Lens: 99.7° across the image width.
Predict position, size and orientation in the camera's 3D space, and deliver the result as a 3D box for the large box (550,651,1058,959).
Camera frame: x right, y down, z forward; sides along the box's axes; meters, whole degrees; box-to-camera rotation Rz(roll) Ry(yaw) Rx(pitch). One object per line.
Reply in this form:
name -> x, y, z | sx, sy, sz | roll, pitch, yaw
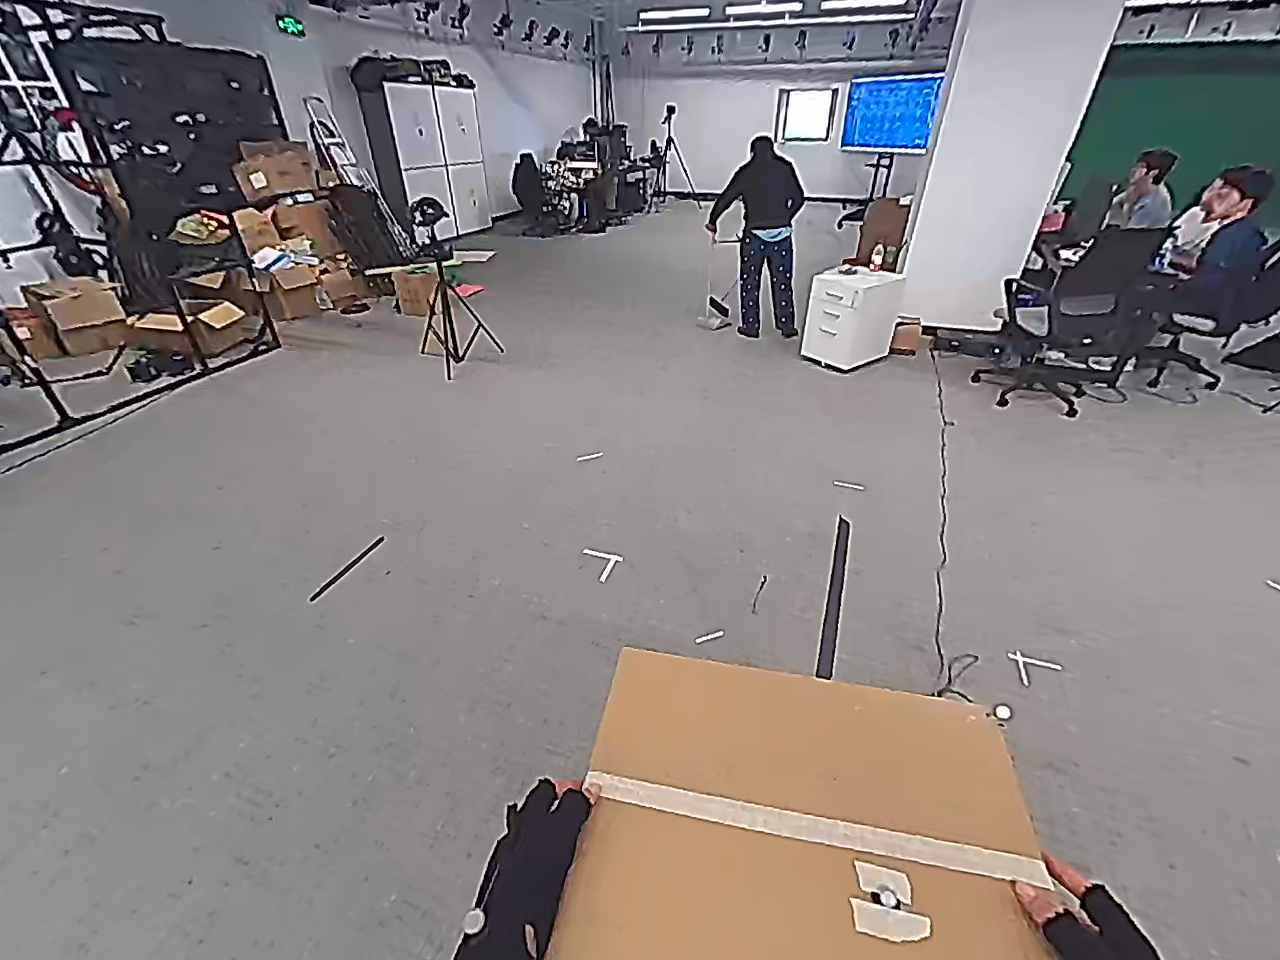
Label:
large box -> 0.150, 0.434, 0.600 | 0.408, 0.320, 0.320 | 6, 40, 10
